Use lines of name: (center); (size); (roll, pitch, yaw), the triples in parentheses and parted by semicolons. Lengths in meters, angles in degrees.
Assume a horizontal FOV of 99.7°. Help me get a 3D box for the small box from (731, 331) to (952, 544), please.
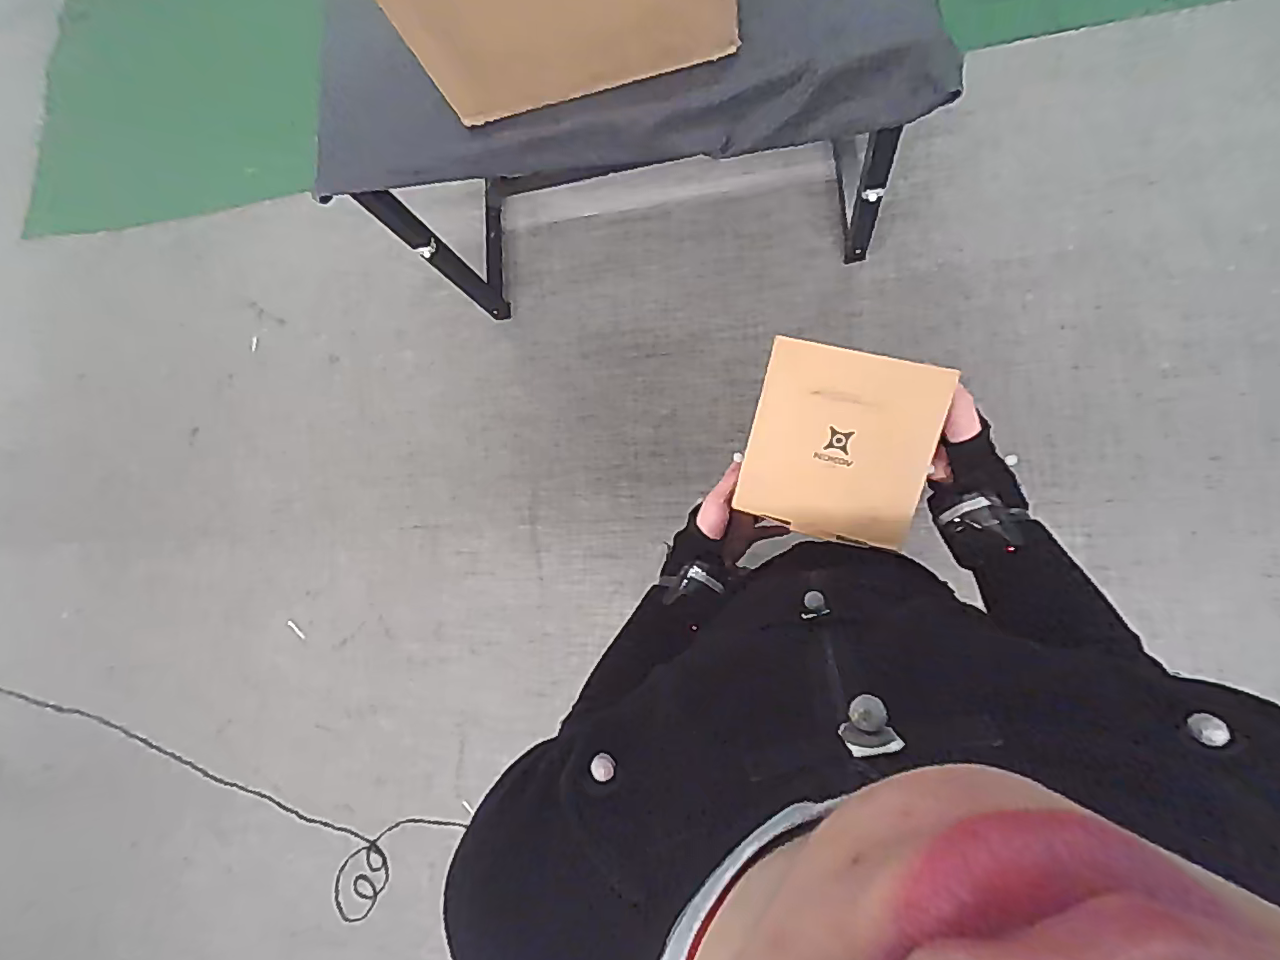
small box: (0.206, -0.051, 0.592); (0.168, 0.176, 0.179); (14, 100, 12)
